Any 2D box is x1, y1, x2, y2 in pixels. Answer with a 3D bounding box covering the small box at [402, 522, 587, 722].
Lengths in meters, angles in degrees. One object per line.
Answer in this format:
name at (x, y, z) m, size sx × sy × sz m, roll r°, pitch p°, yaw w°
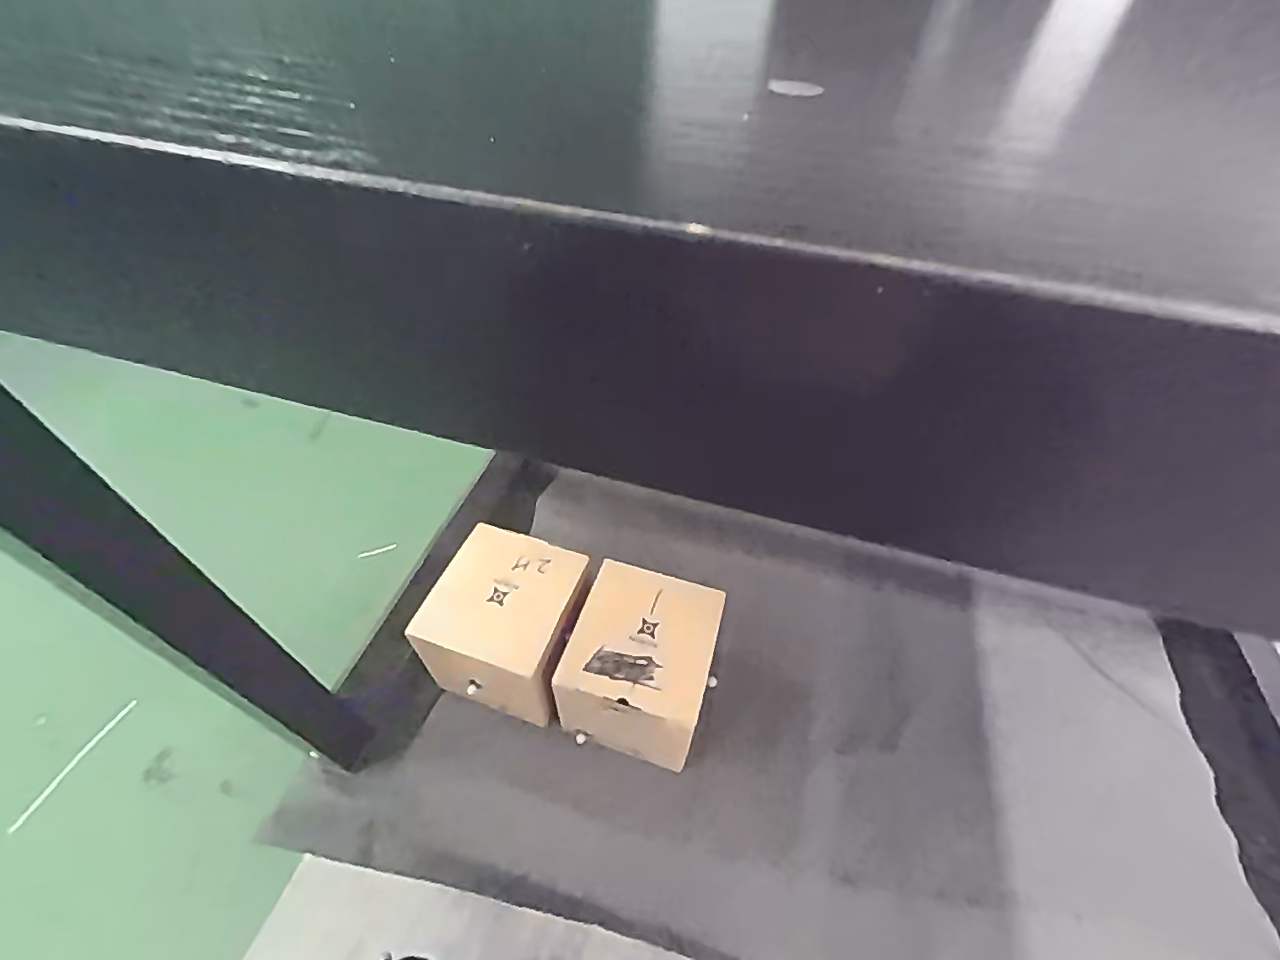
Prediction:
small box at (-0.174, 0.192, 0.719) m, size 0.168 × 0.176 × 0.179 m, roll 16°, pitch 49°, yaw 11°
